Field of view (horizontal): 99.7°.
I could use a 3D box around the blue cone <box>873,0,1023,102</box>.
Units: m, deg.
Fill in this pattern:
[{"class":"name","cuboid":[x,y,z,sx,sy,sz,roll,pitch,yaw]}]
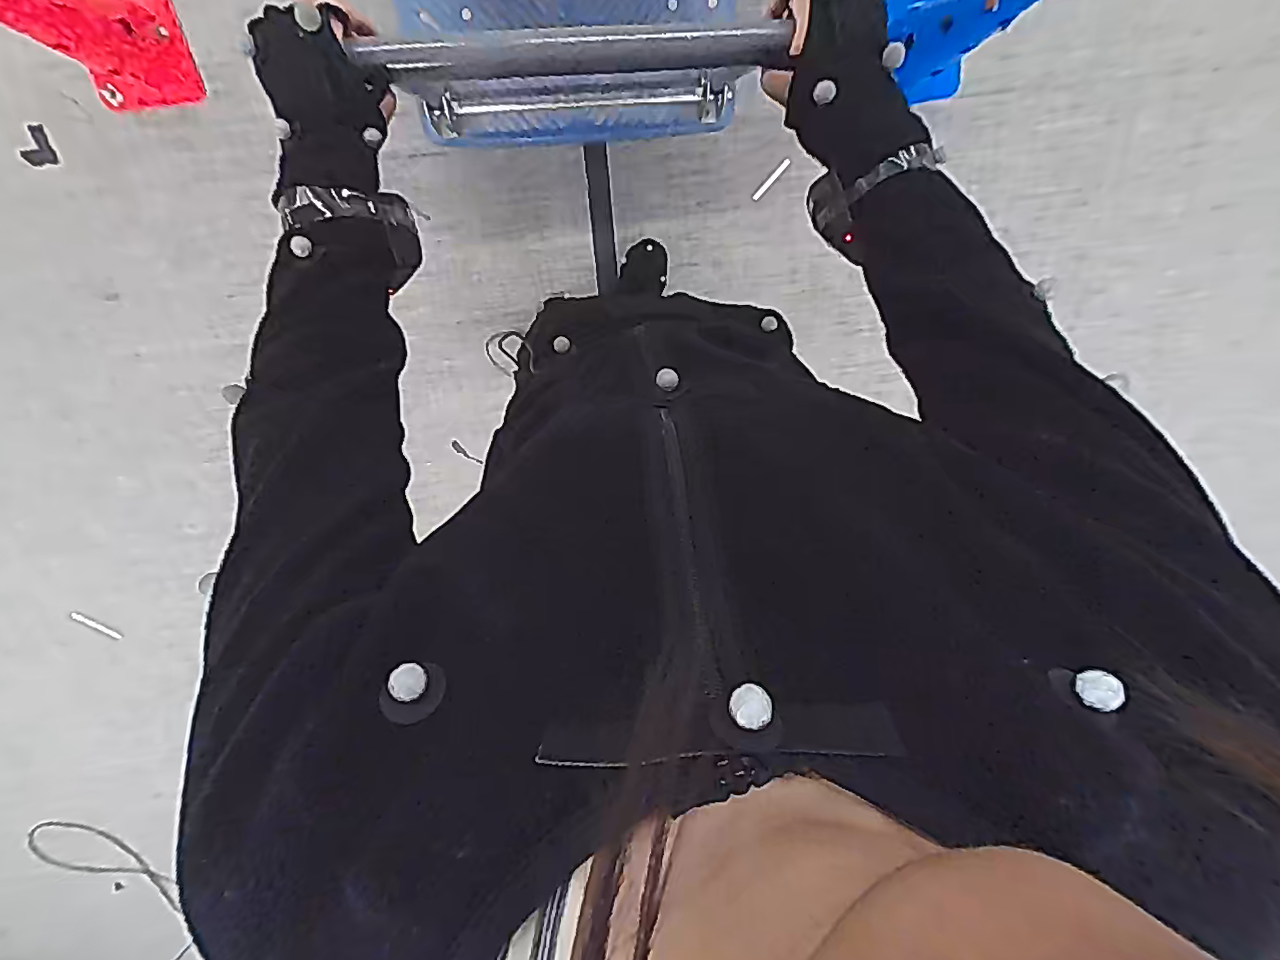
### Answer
[{"class":"blue cone","cuboid":[0.586,-0.832,0.967,0.193,0.380,0.192,-10,115,0]}]
